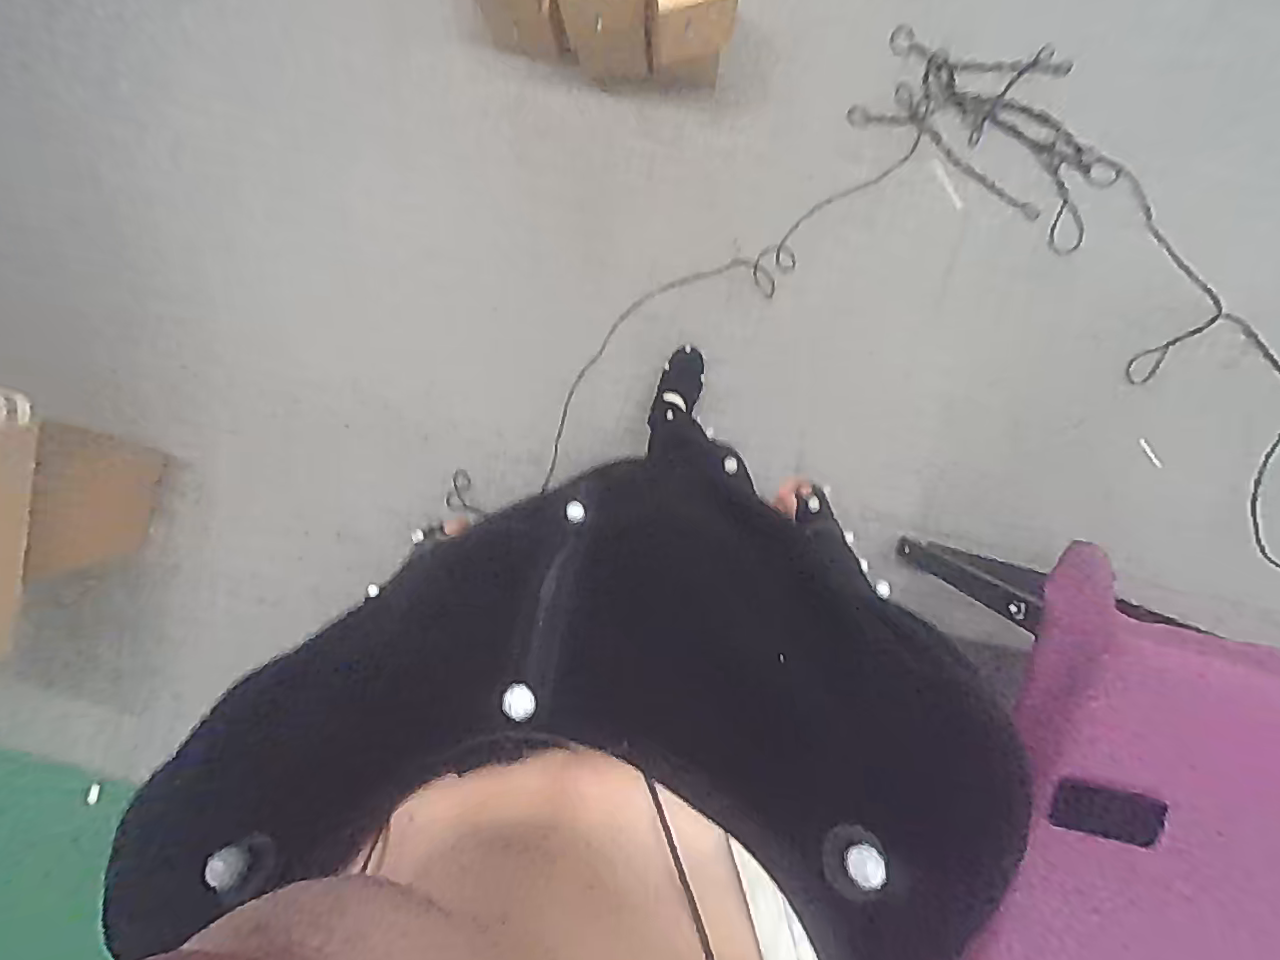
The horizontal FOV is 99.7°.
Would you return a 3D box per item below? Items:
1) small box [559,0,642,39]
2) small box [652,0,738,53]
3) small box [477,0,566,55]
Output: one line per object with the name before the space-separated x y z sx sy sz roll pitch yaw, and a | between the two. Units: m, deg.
small box | -0.086 -1.069 1.132 0.168 0.176 0.179 -4 95 4
small box | 0.108 -1.035 1.122 0.168 0.176 0.179 -12 94 5
small box | -0.270 -1.169 1.296 0.179 0.176 0.168 13 96 3
